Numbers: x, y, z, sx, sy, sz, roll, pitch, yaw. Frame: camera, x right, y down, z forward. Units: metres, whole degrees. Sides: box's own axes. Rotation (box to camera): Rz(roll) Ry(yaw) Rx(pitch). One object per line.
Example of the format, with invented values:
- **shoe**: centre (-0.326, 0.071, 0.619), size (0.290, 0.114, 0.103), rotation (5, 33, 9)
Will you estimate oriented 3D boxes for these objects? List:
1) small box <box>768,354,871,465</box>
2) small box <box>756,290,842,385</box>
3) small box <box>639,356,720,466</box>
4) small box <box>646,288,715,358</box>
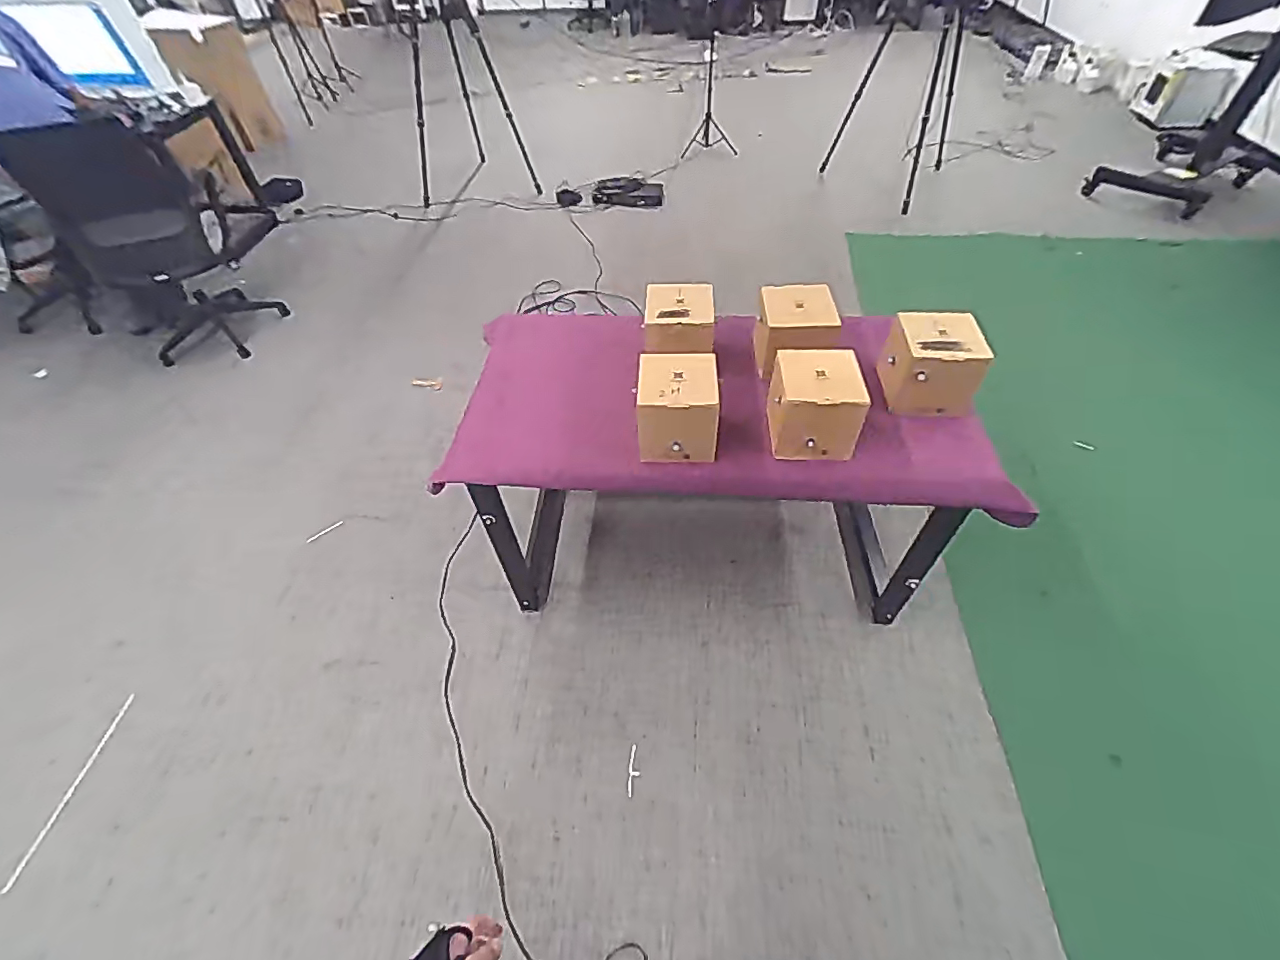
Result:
- **small box**: centre (0.381, -0.155, 1.184), size (0.168, 0.176, 0.179), rotation (1, 49, 3)
- **small box**: centre (0.388, -0.356, 1.355), size (0.168, 0.176, 0.179), rotation (0, 51, 4)
- **small box**: centre (0.085, -0.152, 1.189), size (0.168, 0.176, 0.179), rotation (1, 49, 3)
- **small box**: centre (0.103, -0.368, 1.374), size (0.168, 0.176, 0.179), rotation (2, 49, 3)
